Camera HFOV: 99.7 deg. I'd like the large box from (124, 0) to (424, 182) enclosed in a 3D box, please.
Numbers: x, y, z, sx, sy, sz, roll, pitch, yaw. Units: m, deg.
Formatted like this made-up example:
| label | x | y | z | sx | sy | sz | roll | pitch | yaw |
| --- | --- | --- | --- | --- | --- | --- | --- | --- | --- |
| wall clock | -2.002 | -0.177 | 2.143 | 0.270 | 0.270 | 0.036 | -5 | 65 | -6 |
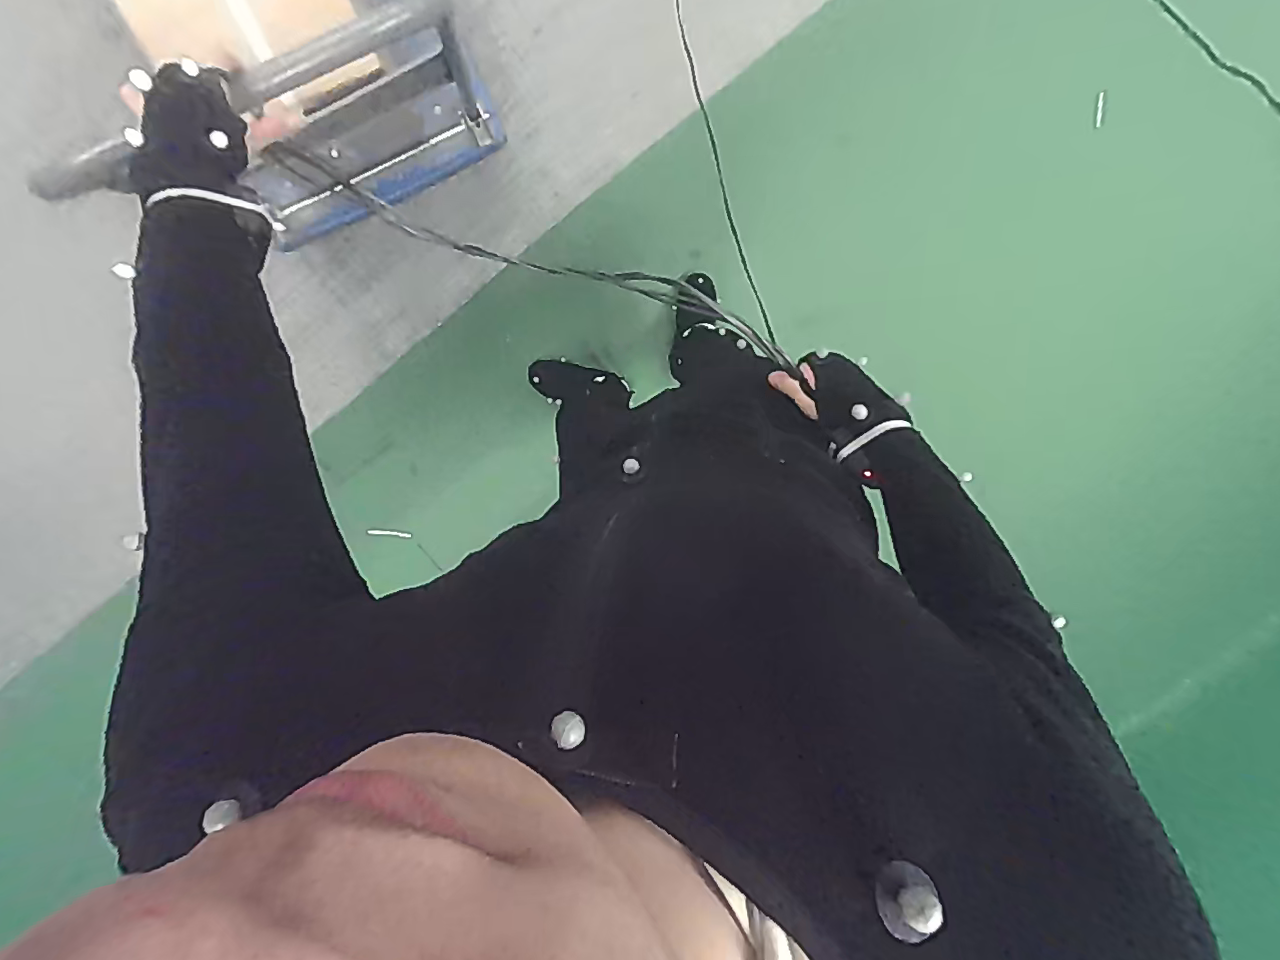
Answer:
| label | x | y | z | sx | sy | sz | roll | pitch | yaw |
| --- | --- | --- | --- | --- | --- | --- | --- | --- | --- |
| large box | -0.645 | -0.814 | 0.942 | 0.320 | 0.320 | 0.408 | -24 | 110 | -2 |
